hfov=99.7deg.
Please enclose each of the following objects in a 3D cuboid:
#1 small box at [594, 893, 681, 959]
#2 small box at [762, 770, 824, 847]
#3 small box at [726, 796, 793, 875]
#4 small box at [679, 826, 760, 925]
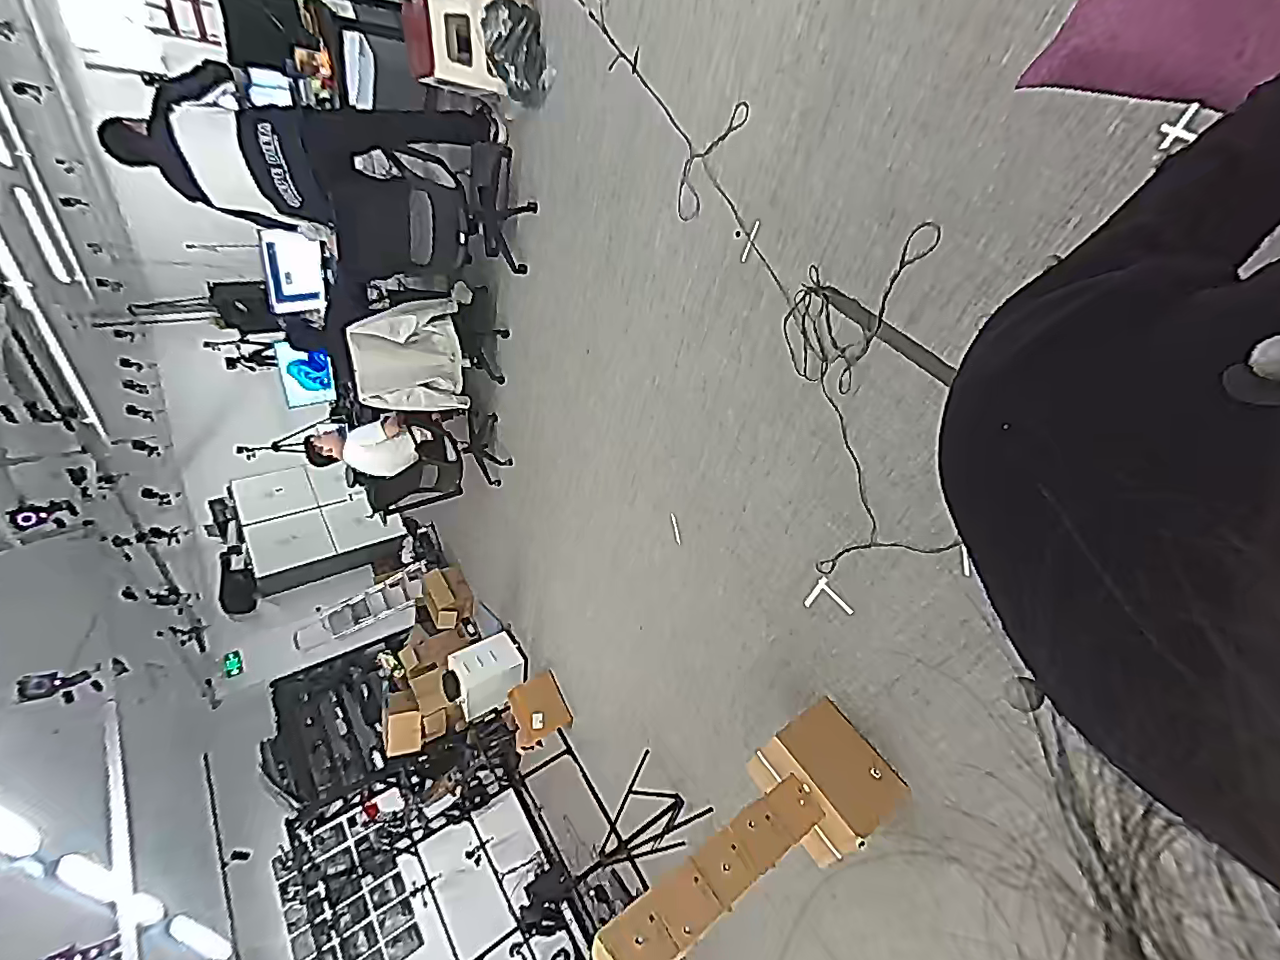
[{"bbox_3d":[-0.007,1.318,1.519,0.168,0.176,0.179,41,134,39],"label":"small box"},{"bbox_3d":[0.510,1.159,1.888,0.168,0.176,0.179,47,138,31],"label":"small box"},{"bbox_3d":[0.381,1.193,1.796,0.168,0.176,0.179,47,140,33],"label":"small box"},{"bbox_3d":[0.252,1.239,1.704,0.168,0.176,0.179,44,137,37],"label":"small box"}]
